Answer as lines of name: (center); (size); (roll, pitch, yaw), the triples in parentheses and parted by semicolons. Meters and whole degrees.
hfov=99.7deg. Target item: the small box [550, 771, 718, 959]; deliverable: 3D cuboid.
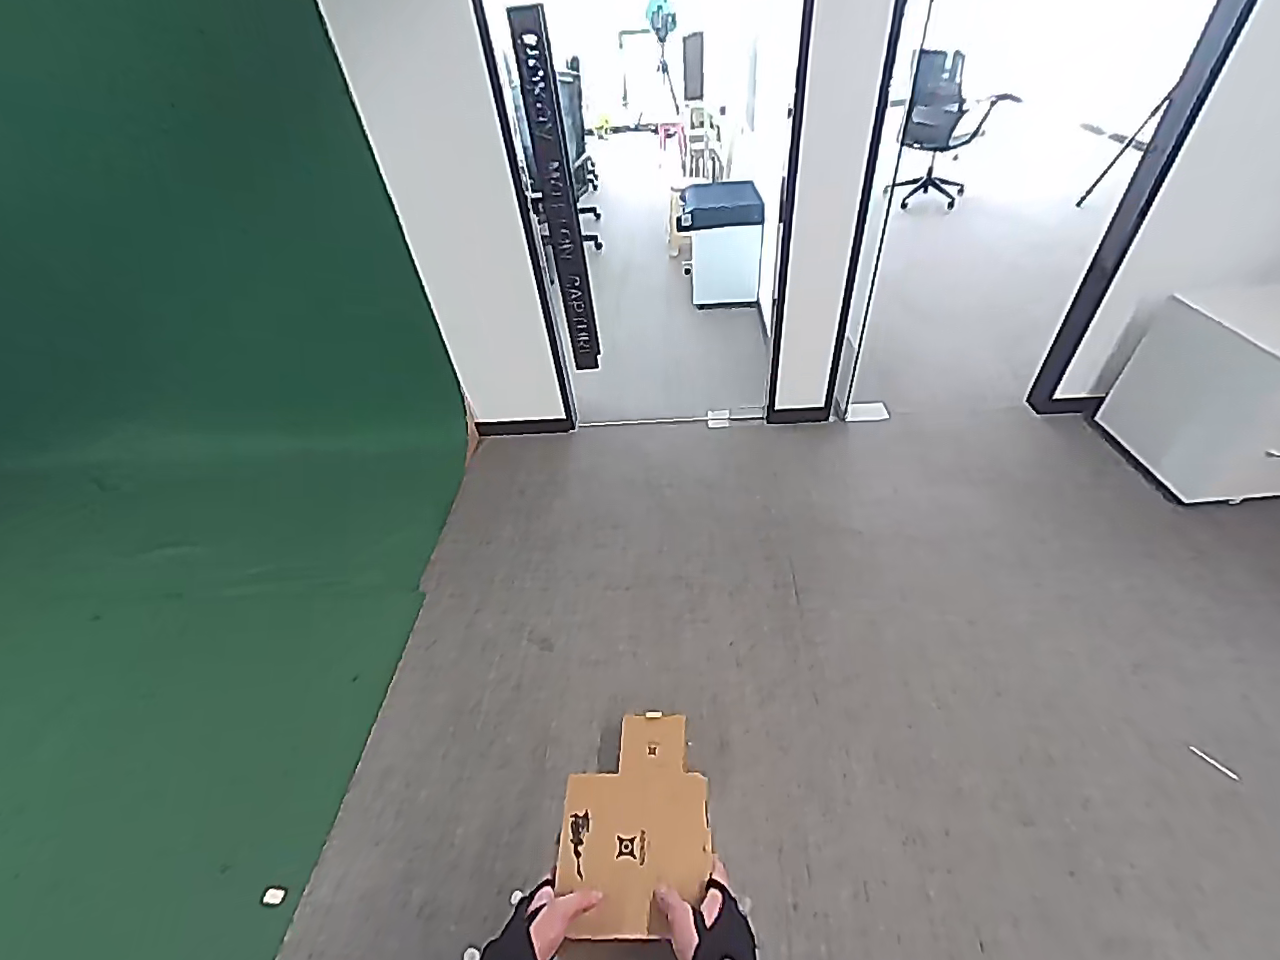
small box: (-0.002, 0.485, 0.669); (0.179, 0.176, 0.168); (-1, 37, 3)

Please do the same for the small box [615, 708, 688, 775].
small box: (0.036, 0.722, 1.412); (0.168, 0.176, 0.179); (-1, 44, 9)
